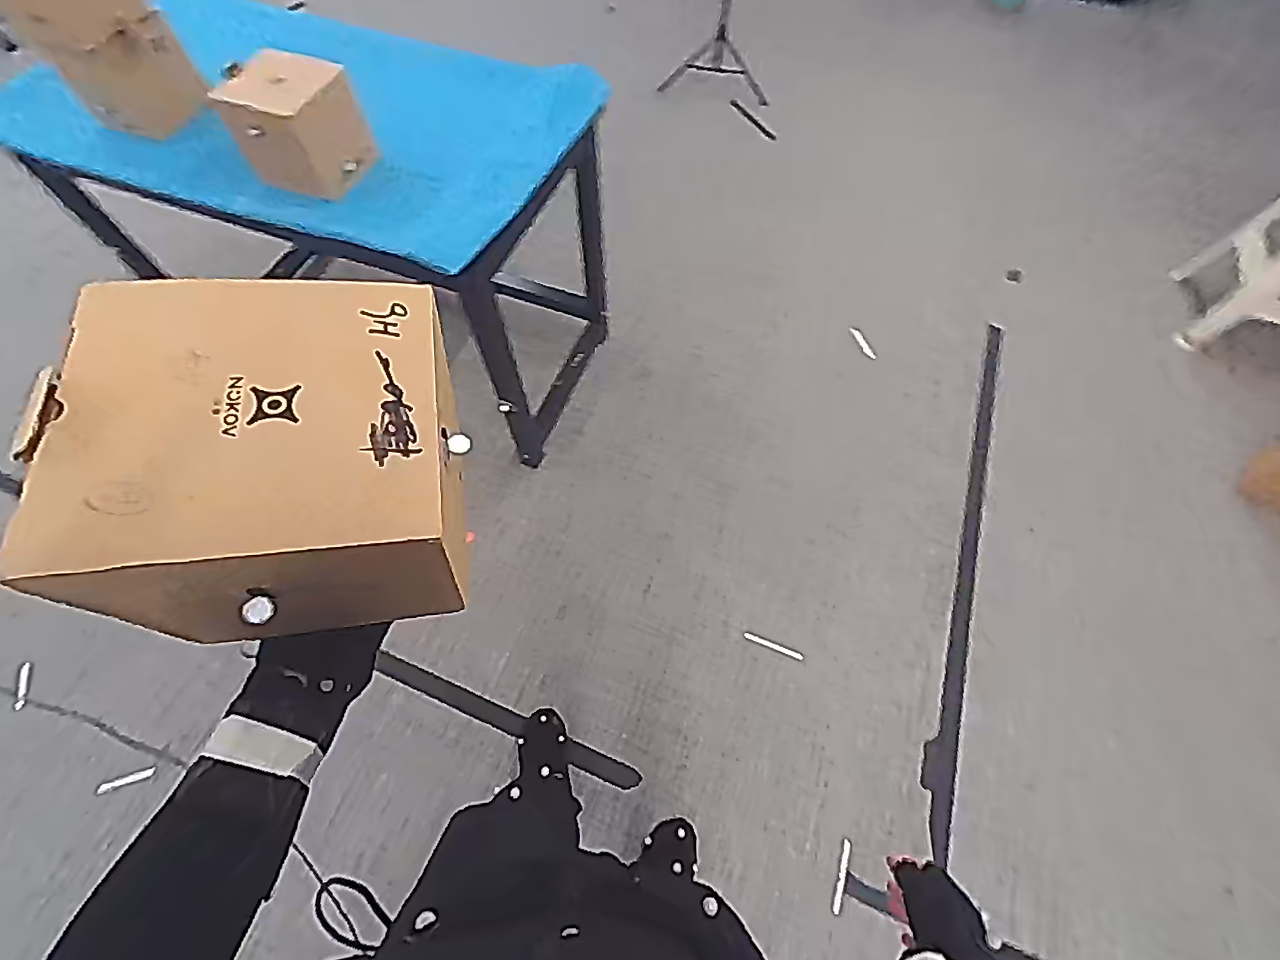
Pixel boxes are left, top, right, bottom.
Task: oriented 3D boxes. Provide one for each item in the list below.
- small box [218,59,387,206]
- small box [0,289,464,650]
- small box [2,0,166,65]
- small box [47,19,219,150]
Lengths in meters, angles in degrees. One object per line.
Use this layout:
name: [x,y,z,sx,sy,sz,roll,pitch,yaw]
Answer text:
small box: [-0.632,-0.659,1.037,0.179,0.176,0.168,19,65,9]
small box: [-0.220,0.001,0.351,0.179,0.176,0.168,-8,66,-16]
small box: [-1.038,-0.897,0.971,0.179,0.176,0.168,20,65,9]
small box: [-1.037,-0.834,1.126,0.168,0.176,0.179,21,67,11]
